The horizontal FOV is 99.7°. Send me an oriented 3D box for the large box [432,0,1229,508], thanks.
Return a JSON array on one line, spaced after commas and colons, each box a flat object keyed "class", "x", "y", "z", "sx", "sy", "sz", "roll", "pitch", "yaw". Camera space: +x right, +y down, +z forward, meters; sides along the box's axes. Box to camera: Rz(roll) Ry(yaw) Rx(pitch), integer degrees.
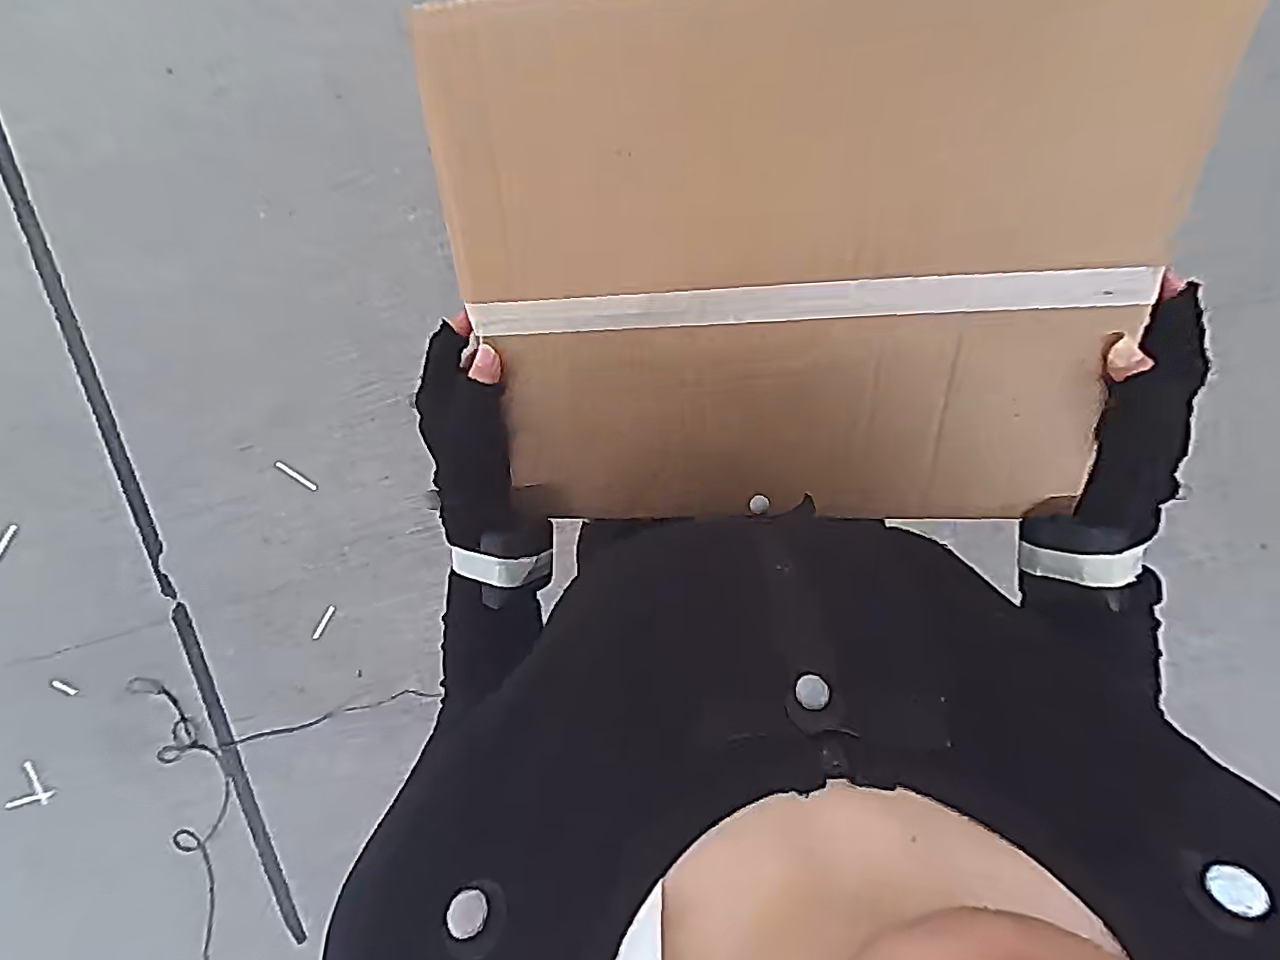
[{"class": "large box", "x": 0.105, "y": -0.188, "z": 0.470, "sx": 0.408, "sy": 0.320, "sz": 0.320, "roll": -1, "pitch": 121, "yaw": 6}]
